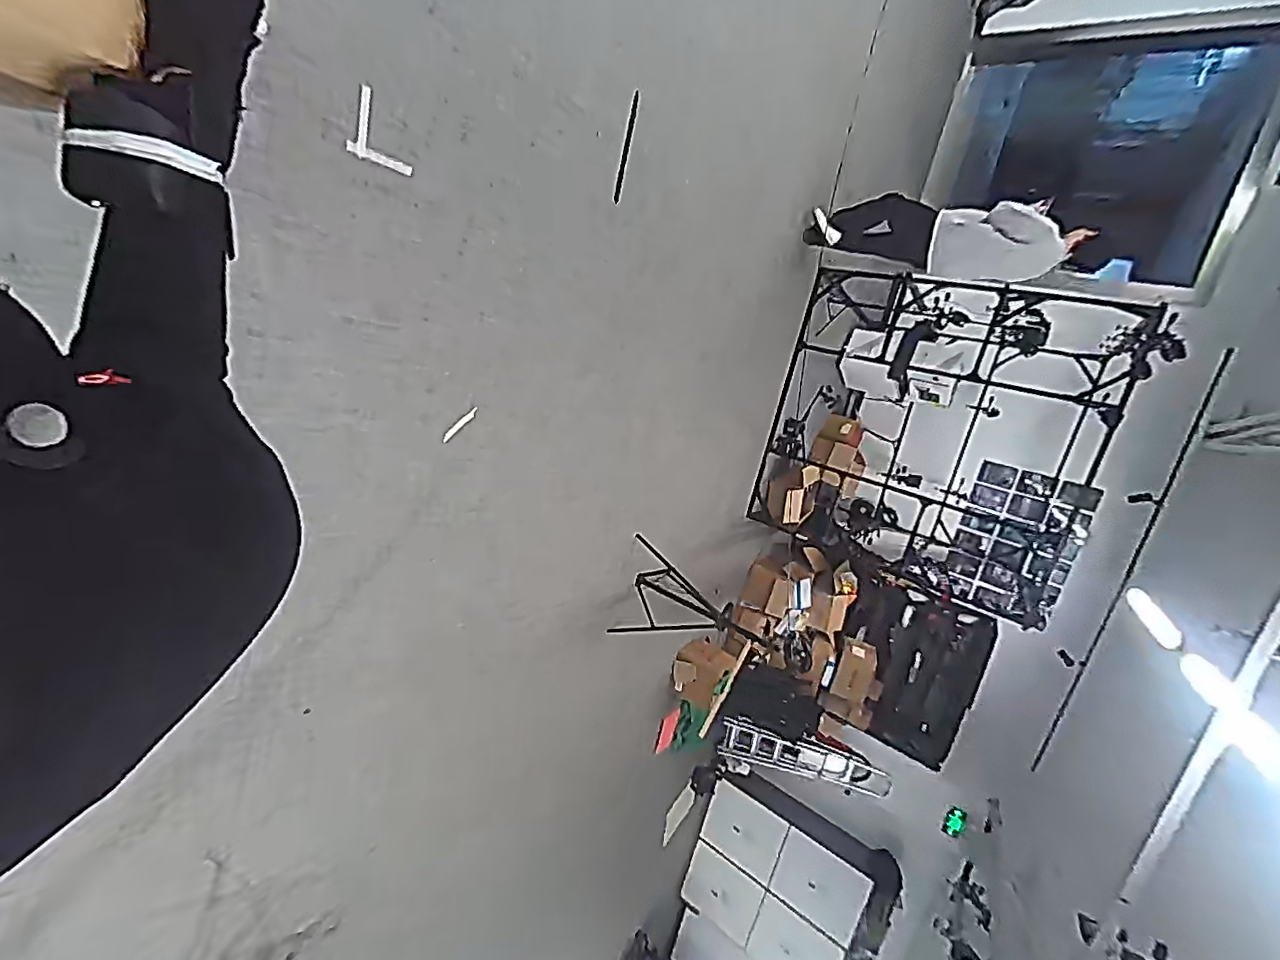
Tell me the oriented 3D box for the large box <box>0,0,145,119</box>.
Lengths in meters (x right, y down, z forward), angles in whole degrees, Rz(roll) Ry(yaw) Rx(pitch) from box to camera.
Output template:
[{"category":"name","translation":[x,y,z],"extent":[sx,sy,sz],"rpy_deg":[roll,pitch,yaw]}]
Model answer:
[{"category":"large box","translation":[-0.534,-0.429,0.241],"extent":[0.408,0.320,0.320],"rpy_deg":[-7,118,-60]}]
